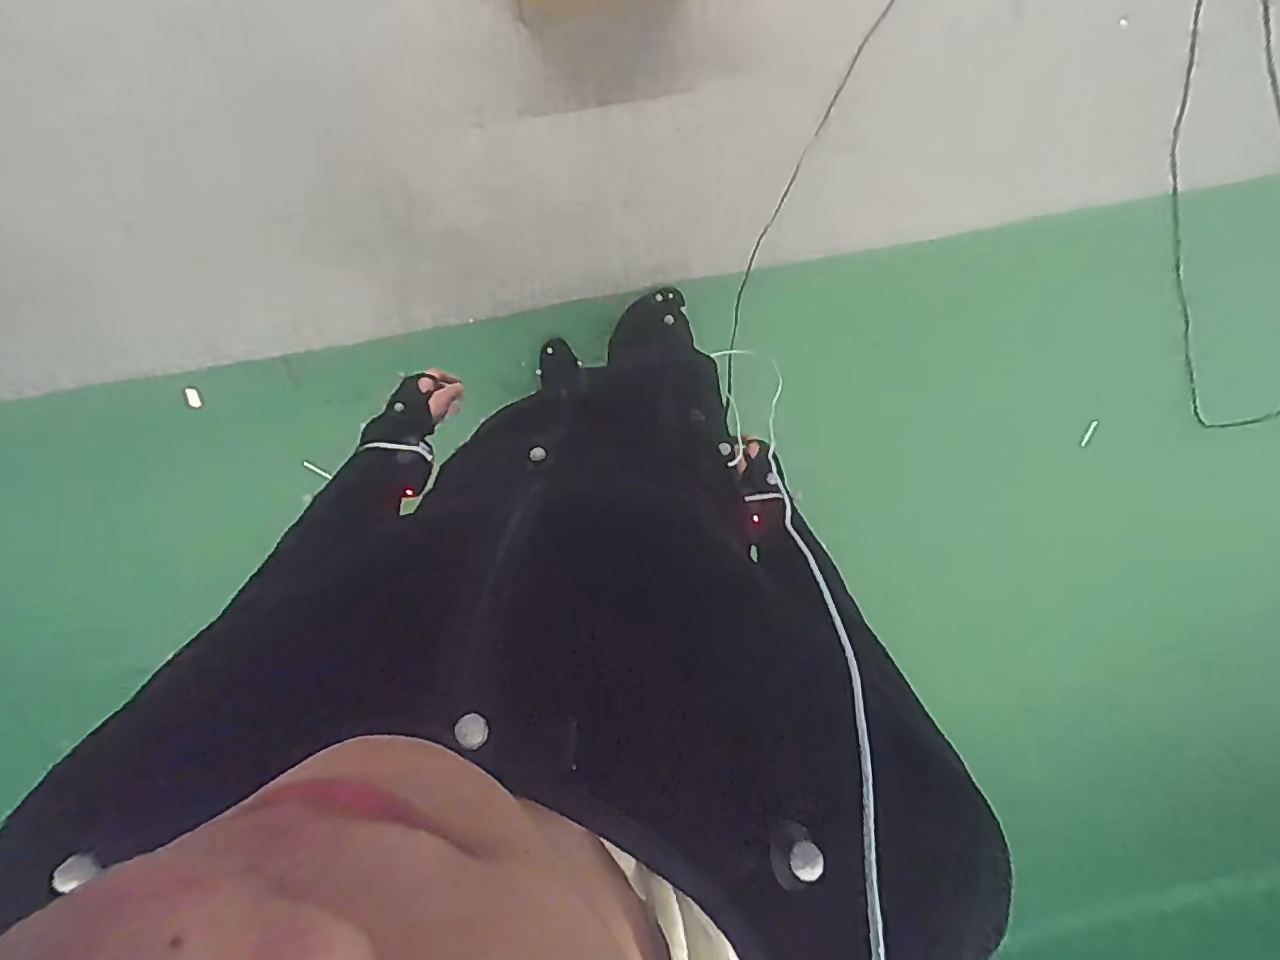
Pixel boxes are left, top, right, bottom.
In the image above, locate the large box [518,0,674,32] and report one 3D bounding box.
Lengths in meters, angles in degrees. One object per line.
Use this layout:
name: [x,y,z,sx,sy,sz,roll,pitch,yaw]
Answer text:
large box: [-0.101,-1.236,1.143,0.408,0.320,0.320,-12,107,-1]
